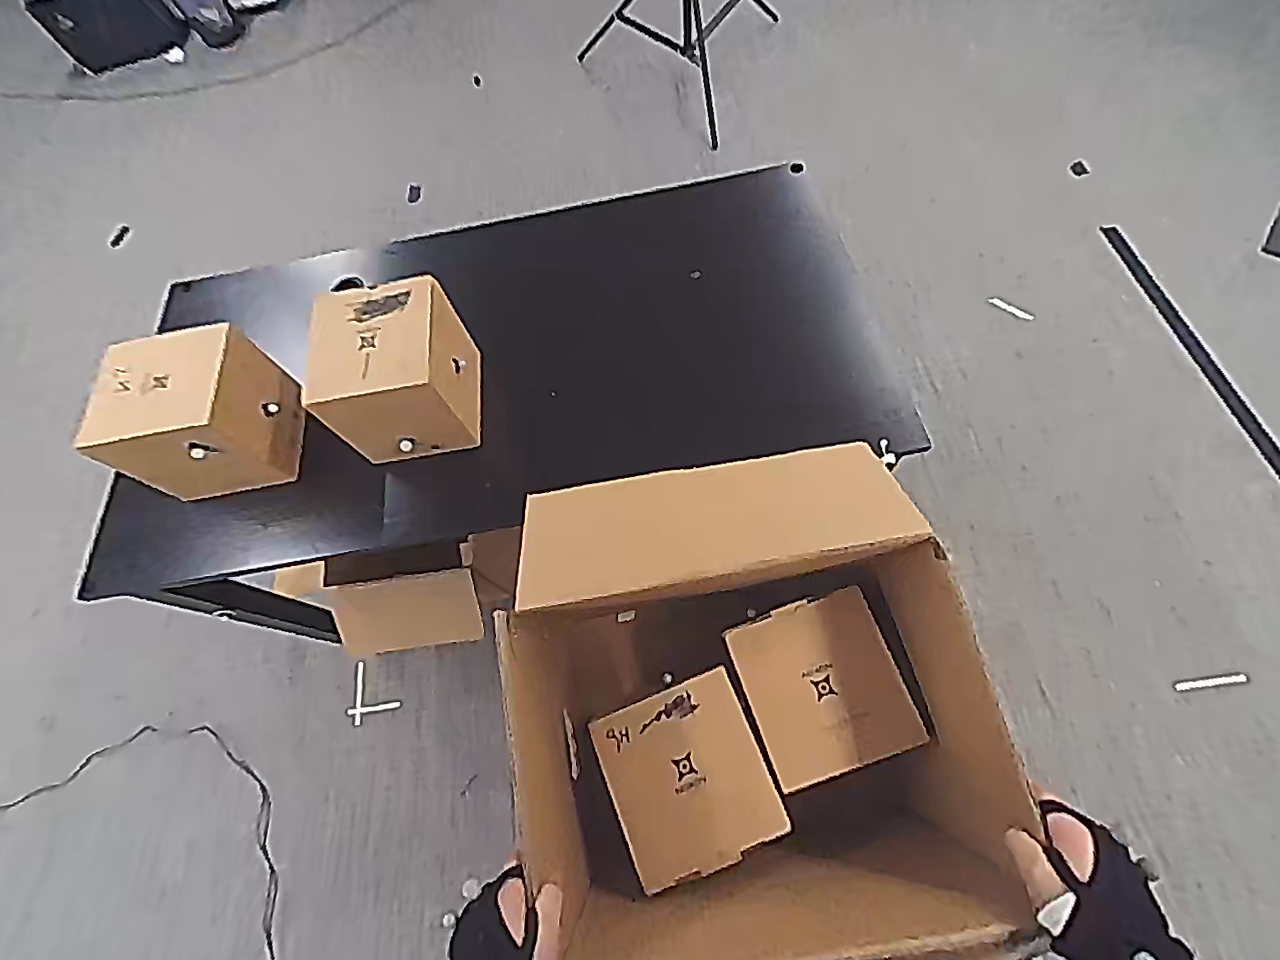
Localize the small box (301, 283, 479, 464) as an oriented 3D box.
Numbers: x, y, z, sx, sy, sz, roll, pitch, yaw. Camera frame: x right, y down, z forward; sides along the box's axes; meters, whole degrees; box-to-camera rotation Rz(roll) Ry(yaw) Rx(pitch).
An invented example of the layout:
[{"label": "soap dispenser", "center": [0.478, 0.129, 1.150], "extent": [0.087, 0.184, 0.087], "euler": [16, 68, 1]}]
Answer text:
[{"label": "small box", "center": [-0.338, -0.145, 0.768], "extent": [0.168, 0.176, 0.179], "euler": [-9, 65, 2]}]

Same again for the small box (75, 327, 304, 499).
[{"label": "small box", "center": [-0.617, -0.088, 0.771], "extent": [0.179, 0.176, 0.168], "euler": [-11, 64, 1]}]
